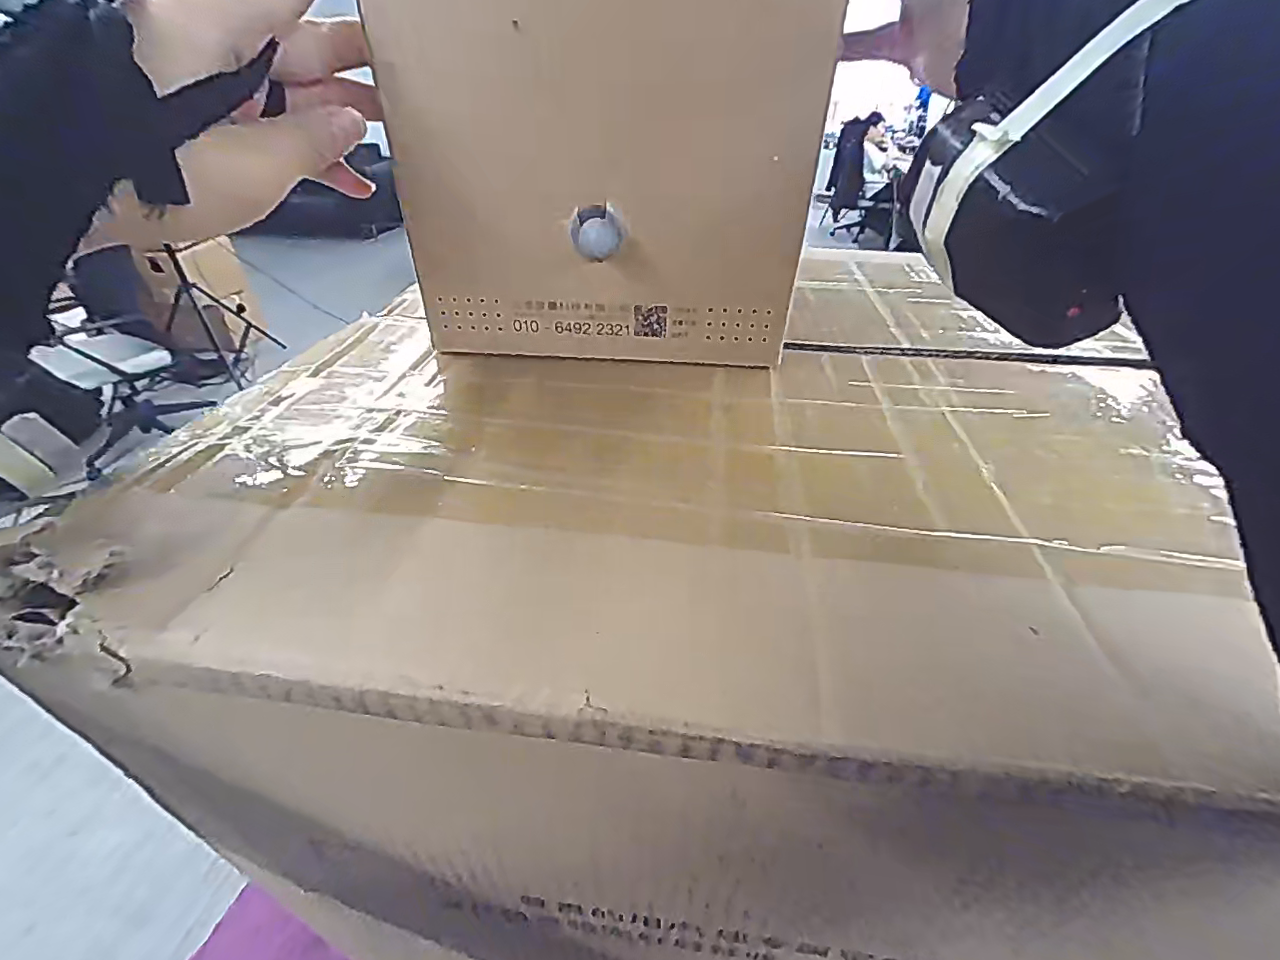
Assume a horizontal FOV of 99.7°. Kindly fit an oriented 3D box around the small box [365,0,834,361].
[{"bbox_3d":[-0.014,-0.174,0.268,0.168,0.176,0.179,2,37,3],"label":"small box"}]
